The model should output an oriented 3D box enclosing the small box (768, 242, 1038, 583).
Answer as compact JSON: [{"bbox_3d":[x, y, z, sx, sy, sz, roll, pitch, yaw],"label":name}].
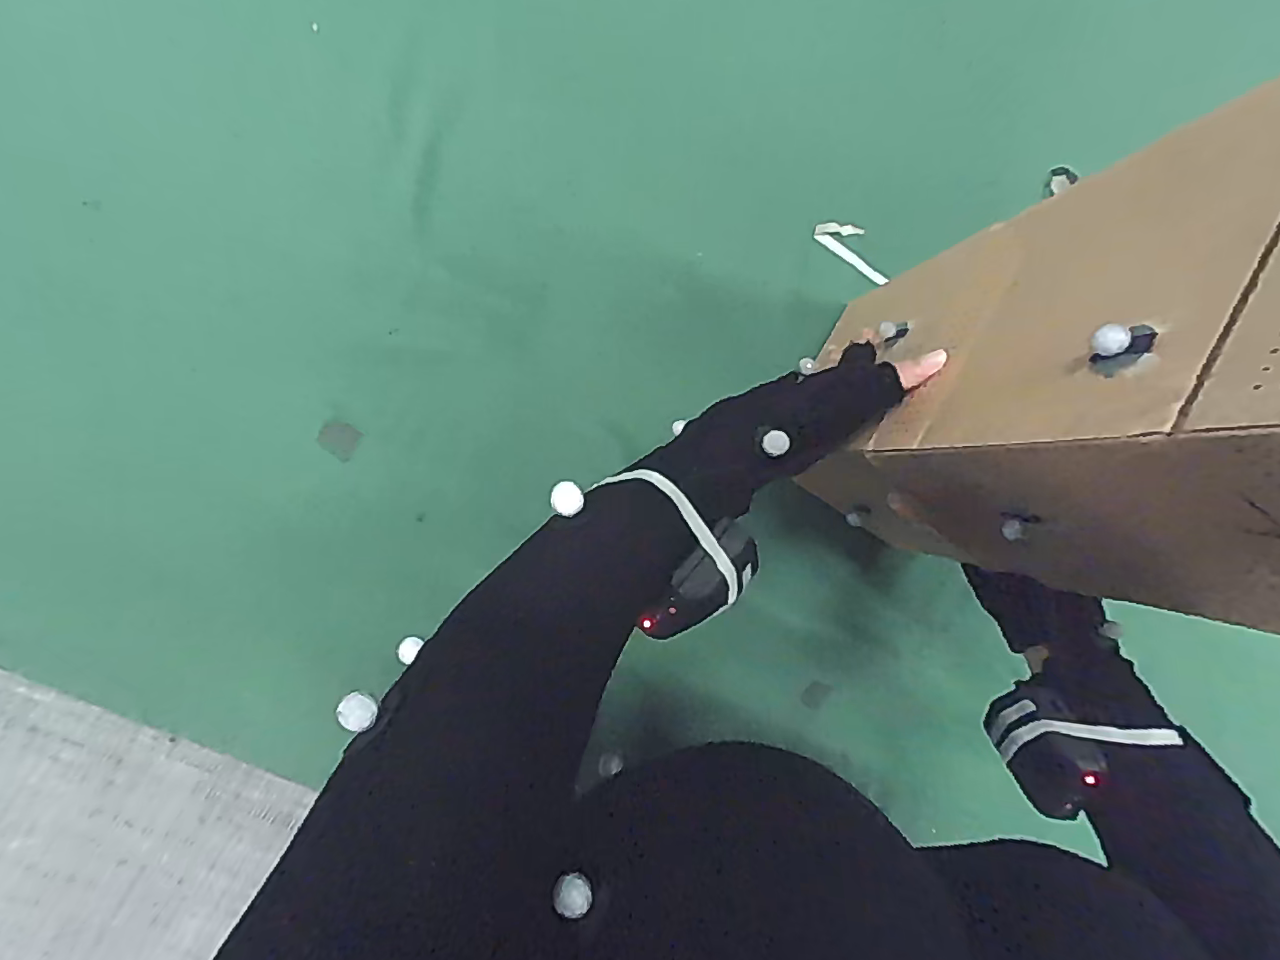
[{"bbox_3d":[0.233,-0.045,0.440,0.168,0.176,0.179,32,85,-9],"label":"small box"}]

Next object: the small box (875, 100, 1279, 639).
[{"bbox_3d":[0.261,-0.043,0.280,0.168,0.176,0.179,32,85,-10],"label":"small box"}]
